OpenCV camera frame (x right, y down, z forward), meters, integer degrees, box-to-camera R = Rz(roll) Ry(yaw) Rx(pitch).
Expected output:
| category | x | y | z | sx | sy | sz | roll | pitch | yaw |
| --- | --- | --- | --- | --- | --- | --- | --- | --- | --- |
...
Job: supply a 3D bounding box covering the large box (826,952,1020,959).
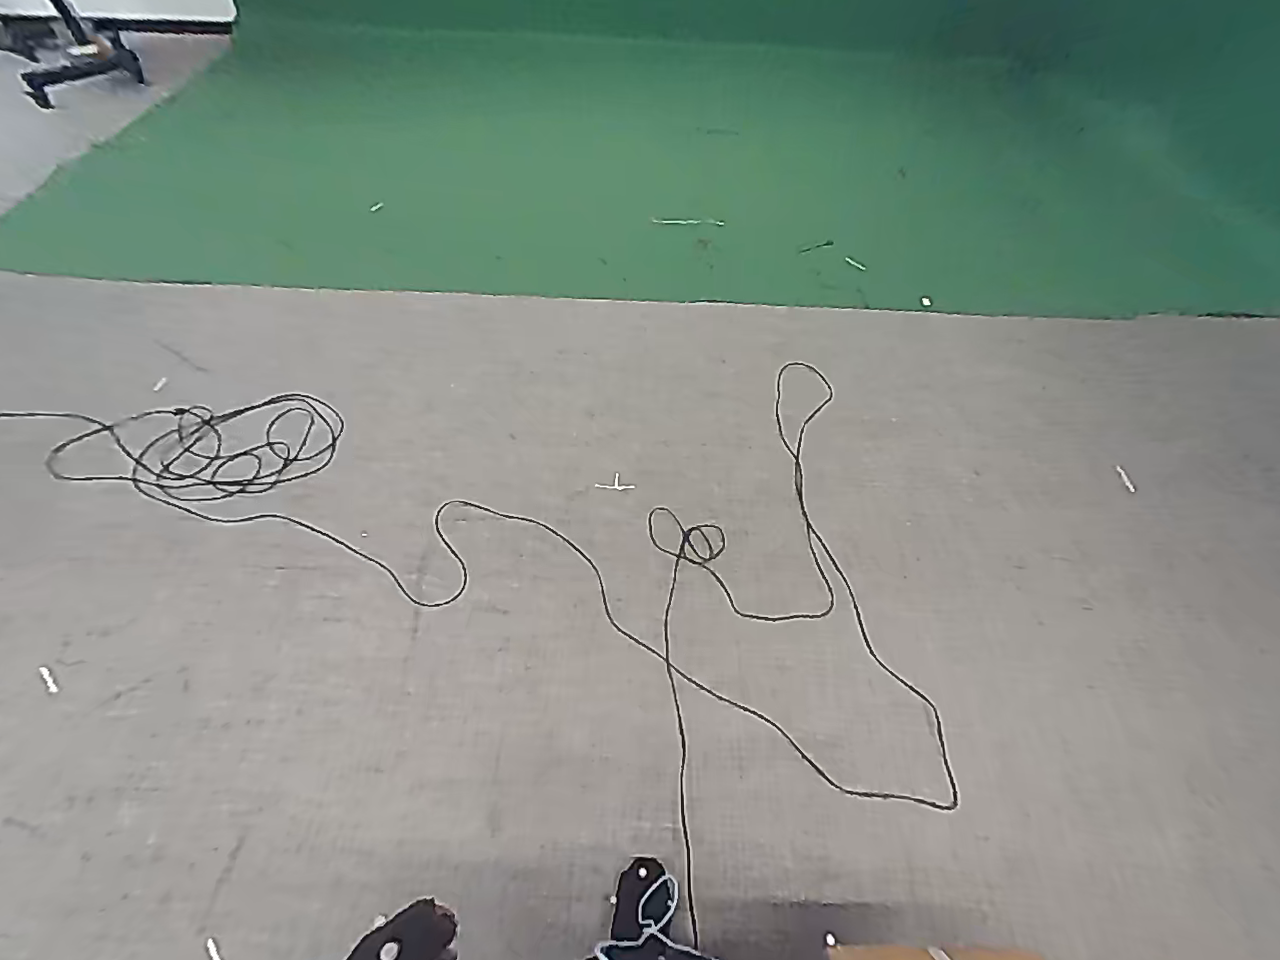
| category | x | y | z | sx | sy | sz | roll | pitch | yaw |
| --- | --- | --- | --- | --- | --- | --- | --- | --- | --- |
| large box | 0.421 | 0.801 | 0.566 | 0.320 | 0.408 | 0.320 | 2 | 76 | 2 |
